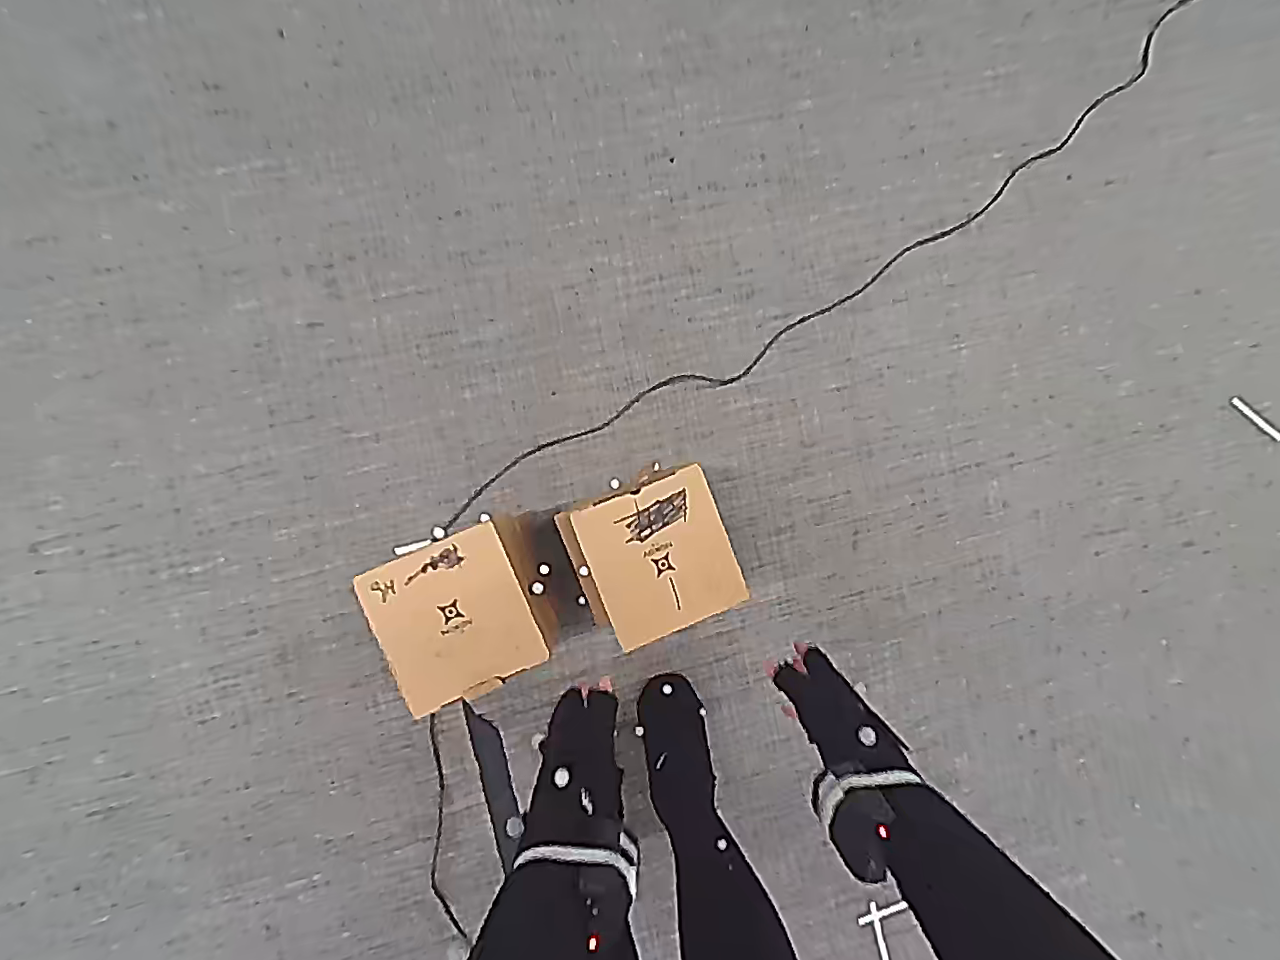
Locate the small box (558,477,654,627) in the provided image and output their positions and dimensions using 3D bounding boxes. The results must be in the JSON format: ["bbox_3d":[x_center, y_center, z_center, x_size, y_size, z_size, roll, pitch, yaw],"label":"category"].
[{"bbox_3d":[-0.024,0.105,0.866,0.168,0.176,0.179,-23,93,-6],"label":"small box"}]

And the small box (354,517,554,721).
[{"bbox_3d":[-0.216,0.159,0.681,0.168,0.176,0.179,-23,93,-6],"label":"small box"}]

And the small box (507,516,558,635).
[{"bbox_3d":[-0.232,0.165,0.845,0.168,0.176,0.179,-19,91,-6],"label":"small box"}]

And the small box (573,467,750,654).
[{"bbox_3d":[0.017,0.093,0.706,0.168,0.176,0.179,-22,93,-6],"label":"small box"}]
